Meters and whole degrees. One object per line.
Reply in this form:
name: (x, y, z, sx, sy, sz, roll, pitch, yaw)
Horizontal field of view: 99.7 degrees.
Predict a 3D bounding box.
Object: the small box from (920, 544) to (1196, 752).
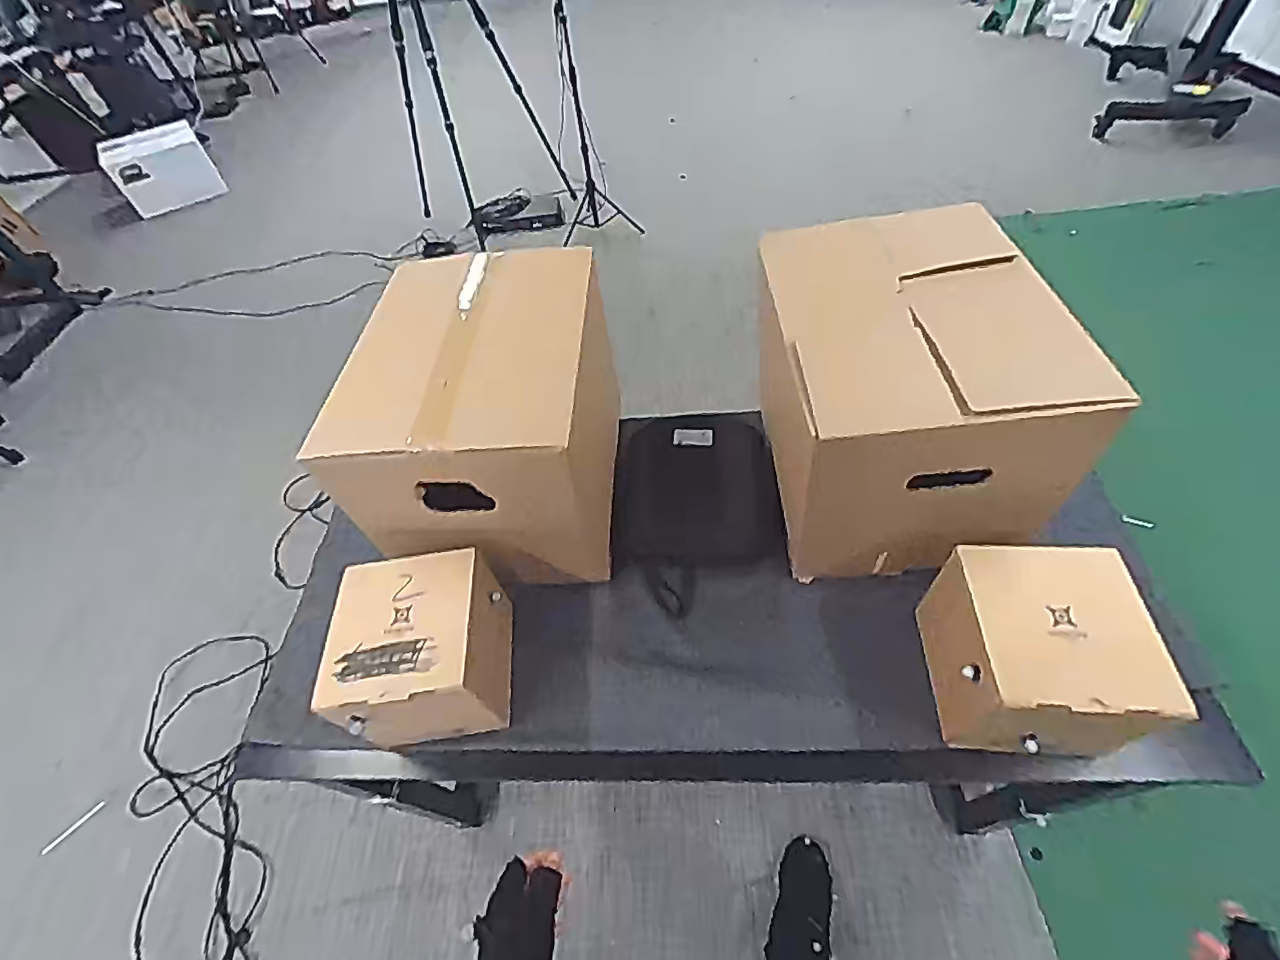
small box: (0.441, 0.191, 0.613, 0.168, 0.176, 0.179, 1, 54, 9)
